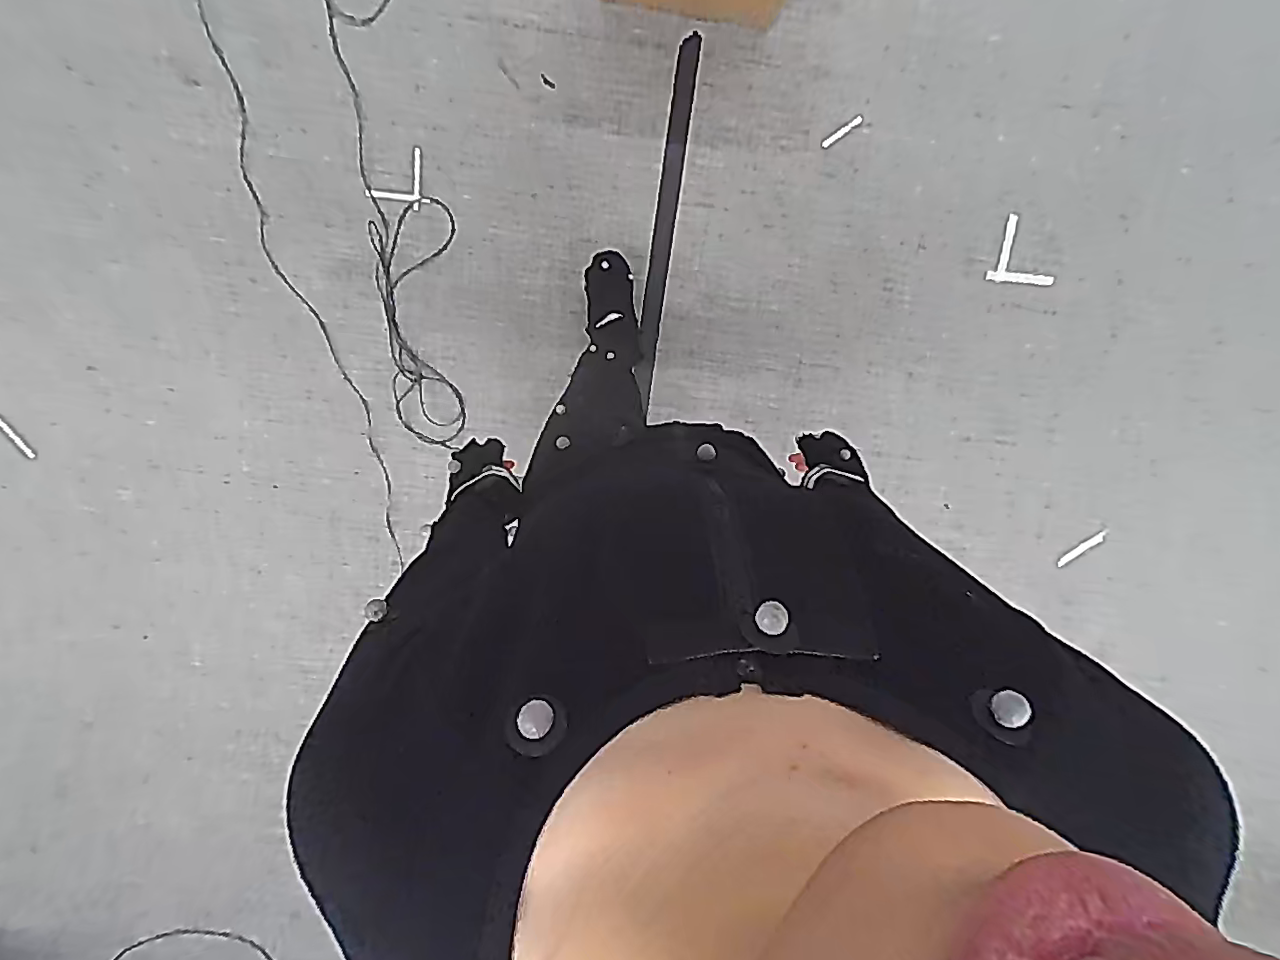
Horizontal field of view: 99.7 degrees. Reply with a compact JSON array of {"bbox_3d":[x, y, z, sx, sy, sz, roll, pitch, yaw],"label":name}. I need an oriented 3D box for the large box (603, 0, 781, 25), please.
[{"bbox_3d":[0.122,-1.174,1.058,0.408,0.320,0.320,7,103,-3],"label":"large box"}]
